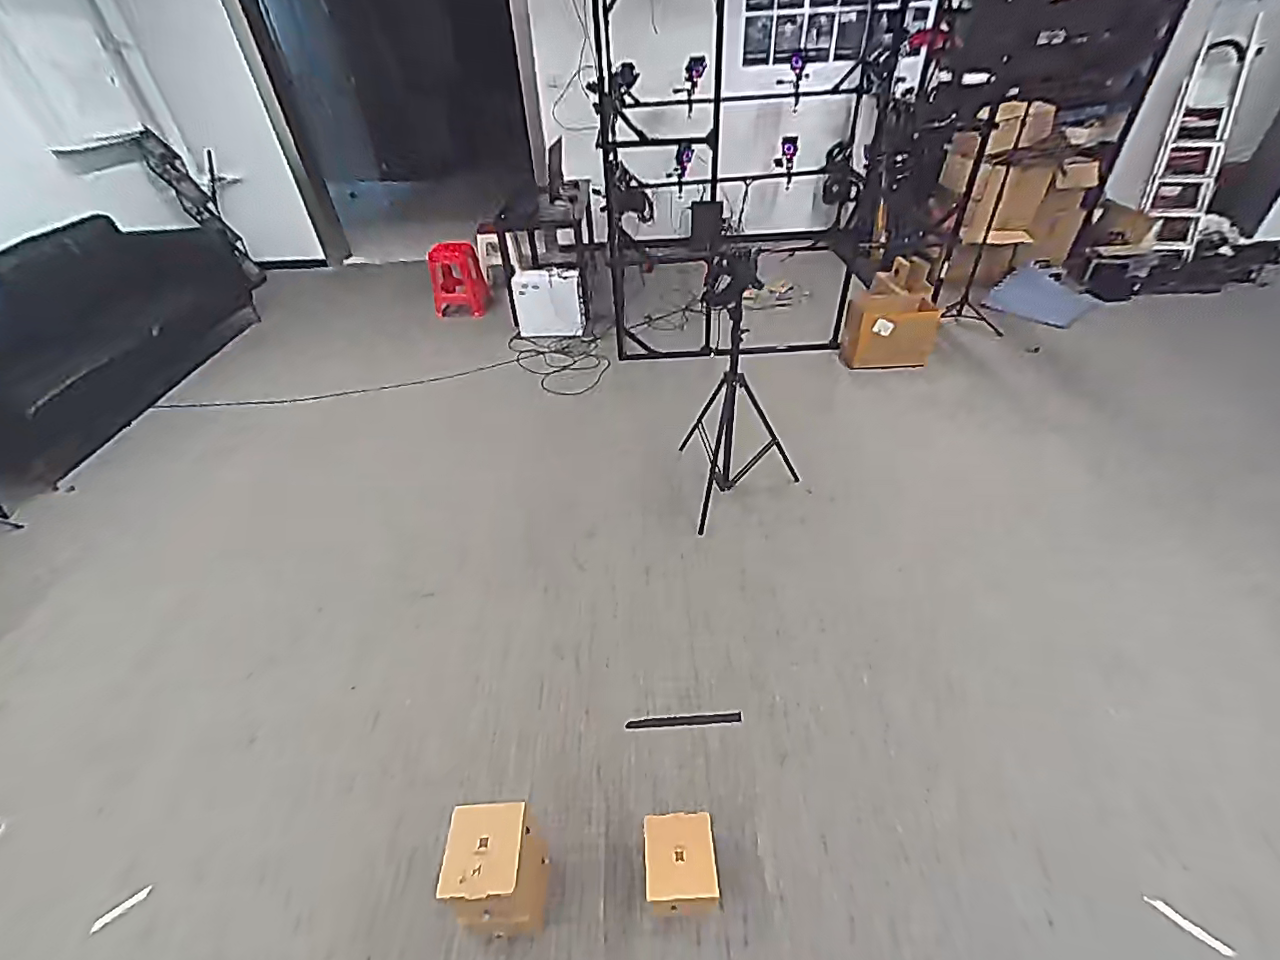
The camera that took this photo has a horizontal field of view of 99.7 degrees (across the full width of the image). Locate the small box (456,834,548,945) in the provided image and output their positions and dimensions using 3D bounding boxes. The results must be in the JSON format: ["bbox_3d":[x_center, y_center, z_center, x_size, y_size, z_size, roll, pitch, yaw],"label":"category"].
[{"bbox_3d":[-0.320,0.983,1.299,0.168,0.176,0.179,-4,39,1],"label":"small box"}]

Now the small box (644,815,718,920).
[{"bbox_3d":[0.097,0.946,1.315,0.168,0.176,0.179,-4,39,0],"label":"small box"}]

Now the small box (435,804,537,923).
[{"bbox_3d":[-0.330,0.851,1.201,0.168,0.176,0.179,-5,40,1],"label":"small box"}]
